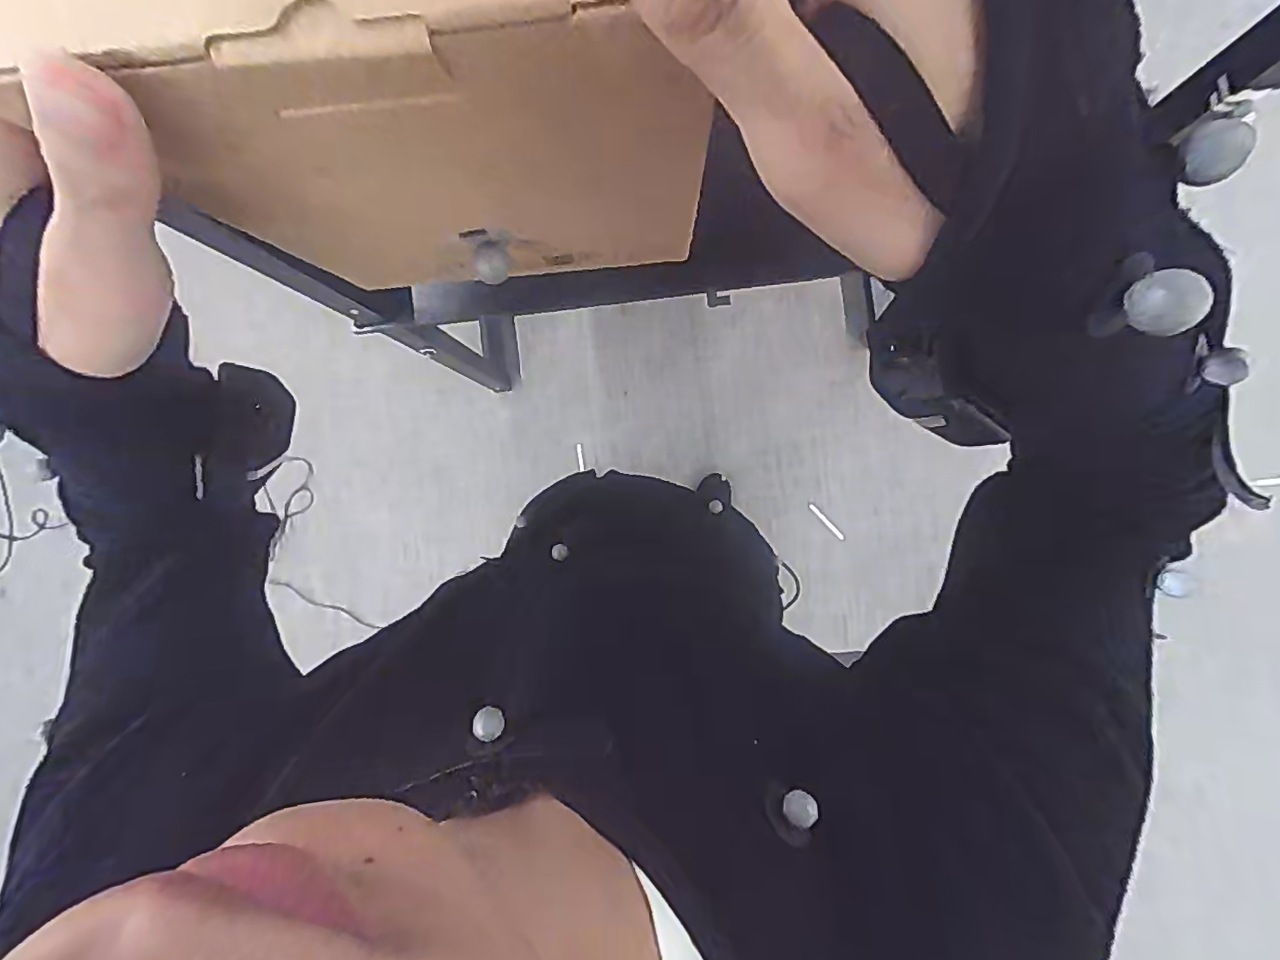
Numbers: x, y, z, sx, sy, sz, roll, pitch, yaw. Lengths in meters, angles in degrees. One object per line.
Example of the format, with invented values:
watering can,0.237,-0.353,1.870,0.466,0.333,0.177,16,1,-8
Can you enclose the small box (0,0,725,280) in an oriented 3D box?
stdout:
small box,-0.067,-0.182,0.177,0.168,0.176,0.179,-4,96,3
